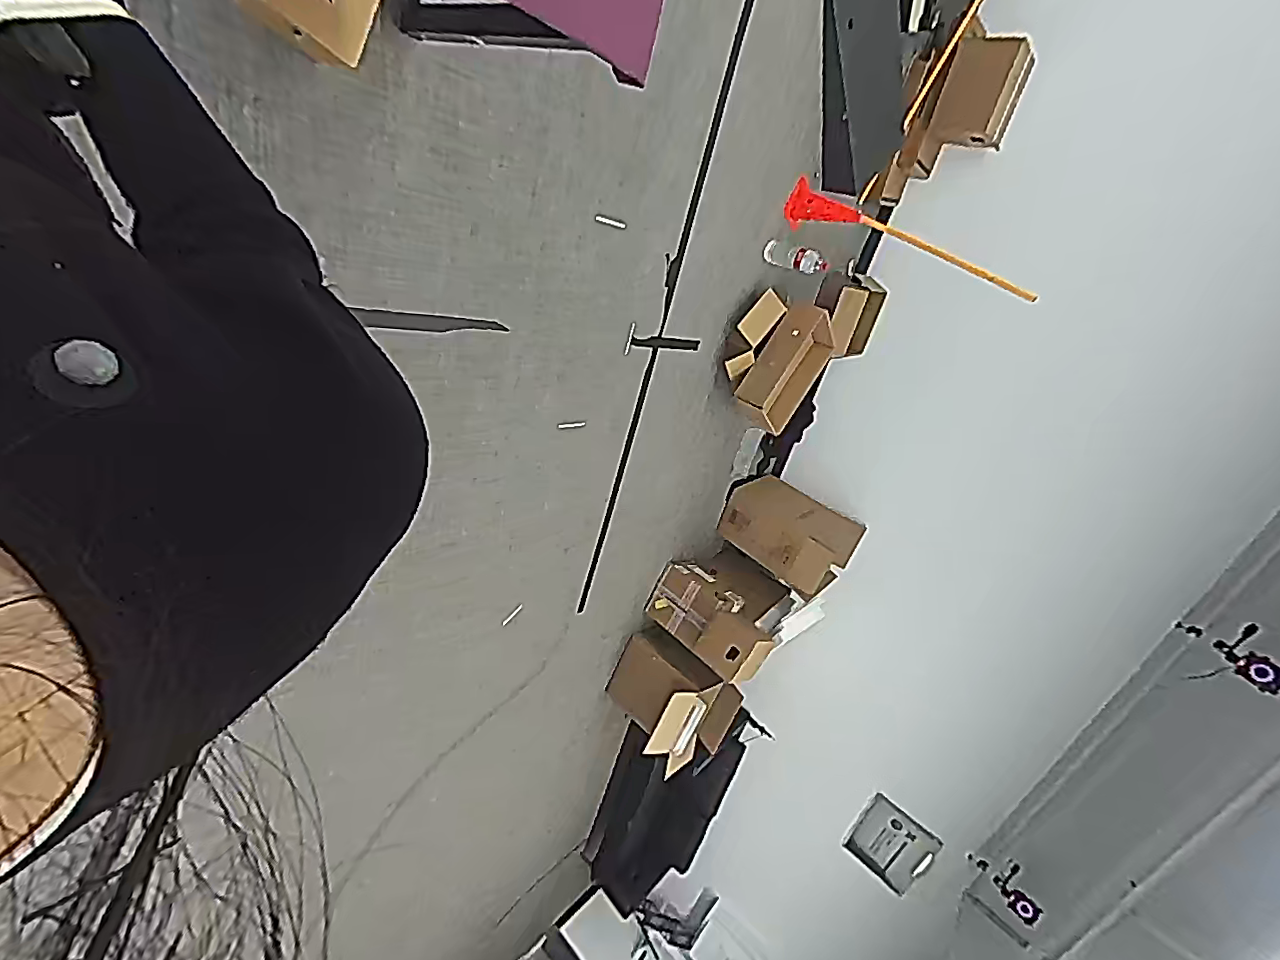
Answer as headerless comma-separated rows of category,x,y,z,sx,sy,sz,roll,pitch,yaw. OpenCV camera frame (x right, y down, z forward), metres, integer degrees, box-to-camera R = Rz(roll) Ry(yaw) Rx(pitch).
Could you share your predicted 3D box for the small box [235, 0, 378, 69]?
small box,-0.637,-0.934,1.028,0.179,0.176,0.168,11,109,-56
